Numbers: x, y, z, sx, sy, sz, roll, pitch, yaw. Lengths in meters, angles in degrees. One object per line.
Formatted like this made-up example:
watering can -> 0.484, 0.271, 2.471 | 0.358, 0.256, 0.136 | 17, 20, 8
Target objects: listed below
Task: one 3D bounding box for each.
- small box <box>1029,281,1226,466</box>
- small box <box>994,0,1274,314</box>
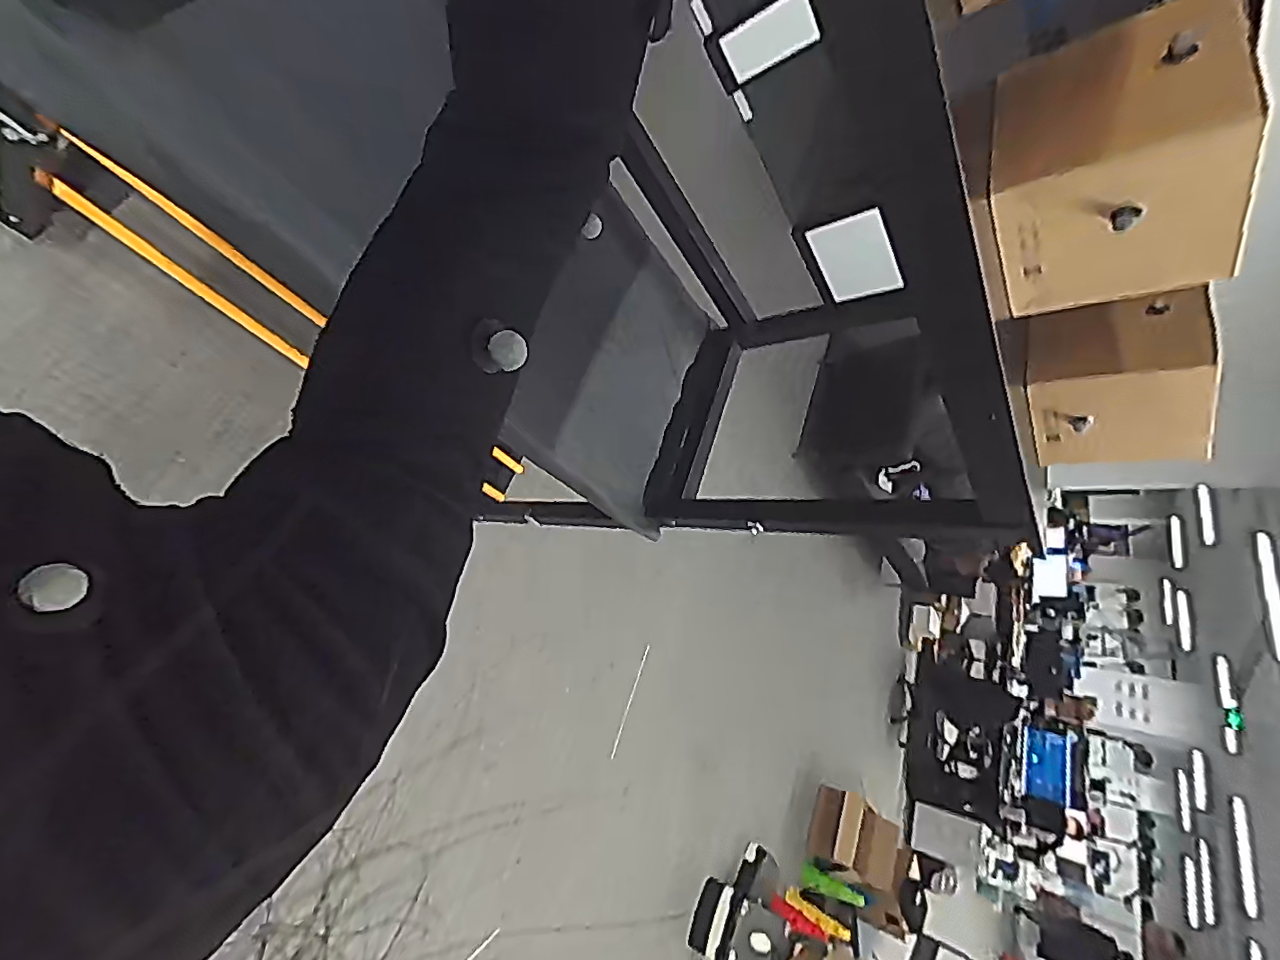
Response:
small box -> 0.609, -0.134, 0.693 | 0.168, 0.176, 0.179 | 49, 55, -36
small box -> 0.441, -0.283, 0.505 | 0.168, 0.176, 0.179 | 38, 61, -42
